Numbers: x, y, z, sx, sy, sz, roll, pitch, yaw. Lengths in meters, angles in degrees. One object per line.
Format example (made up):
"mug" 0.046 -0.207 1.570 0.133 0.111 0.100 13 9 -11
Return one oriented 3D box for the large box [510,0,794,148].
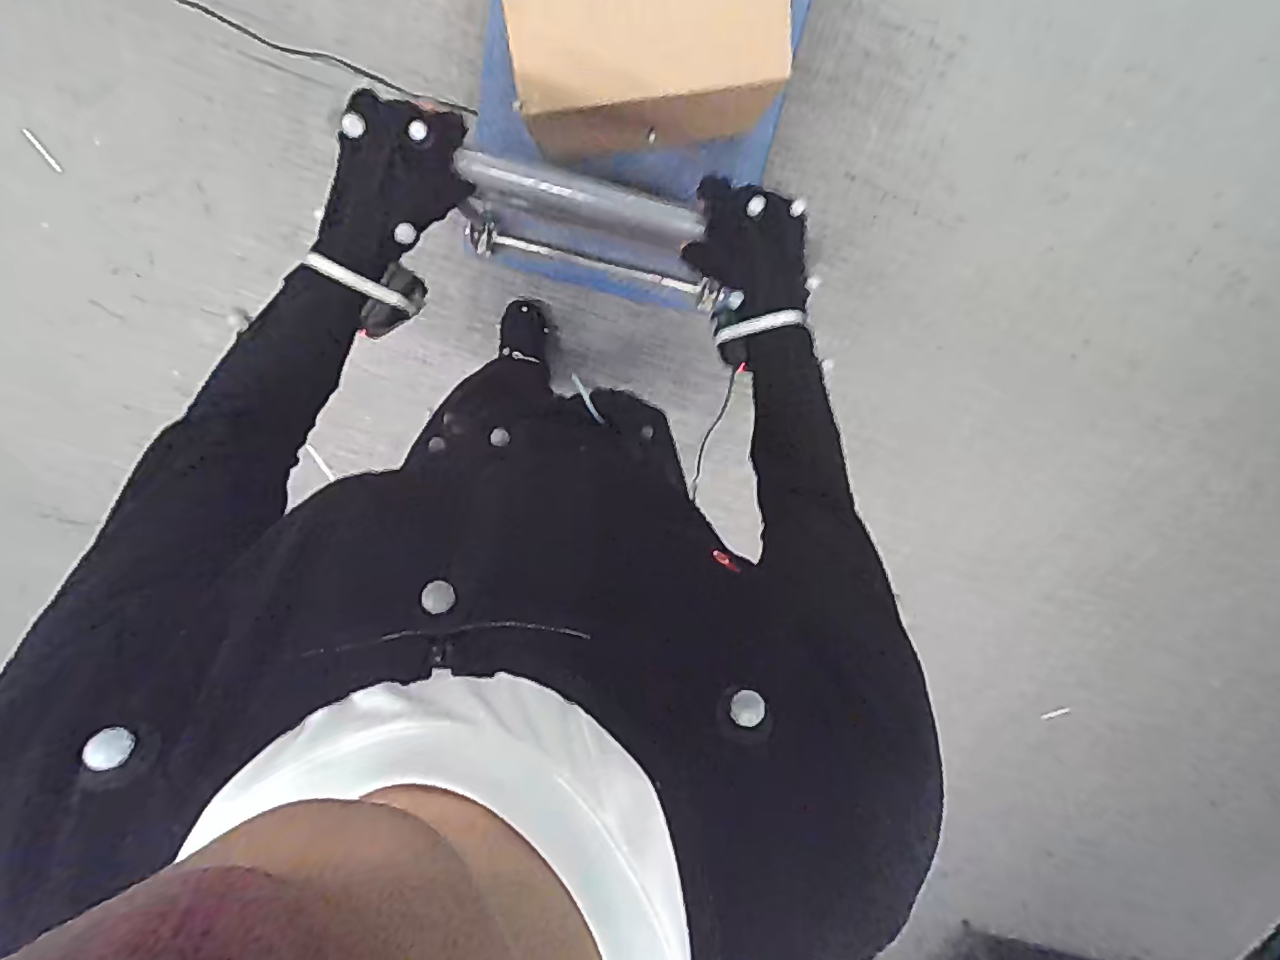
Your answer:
"large box" 0.008 -0.779 0.887 0.408 0.320 0.320 -7 109 1
